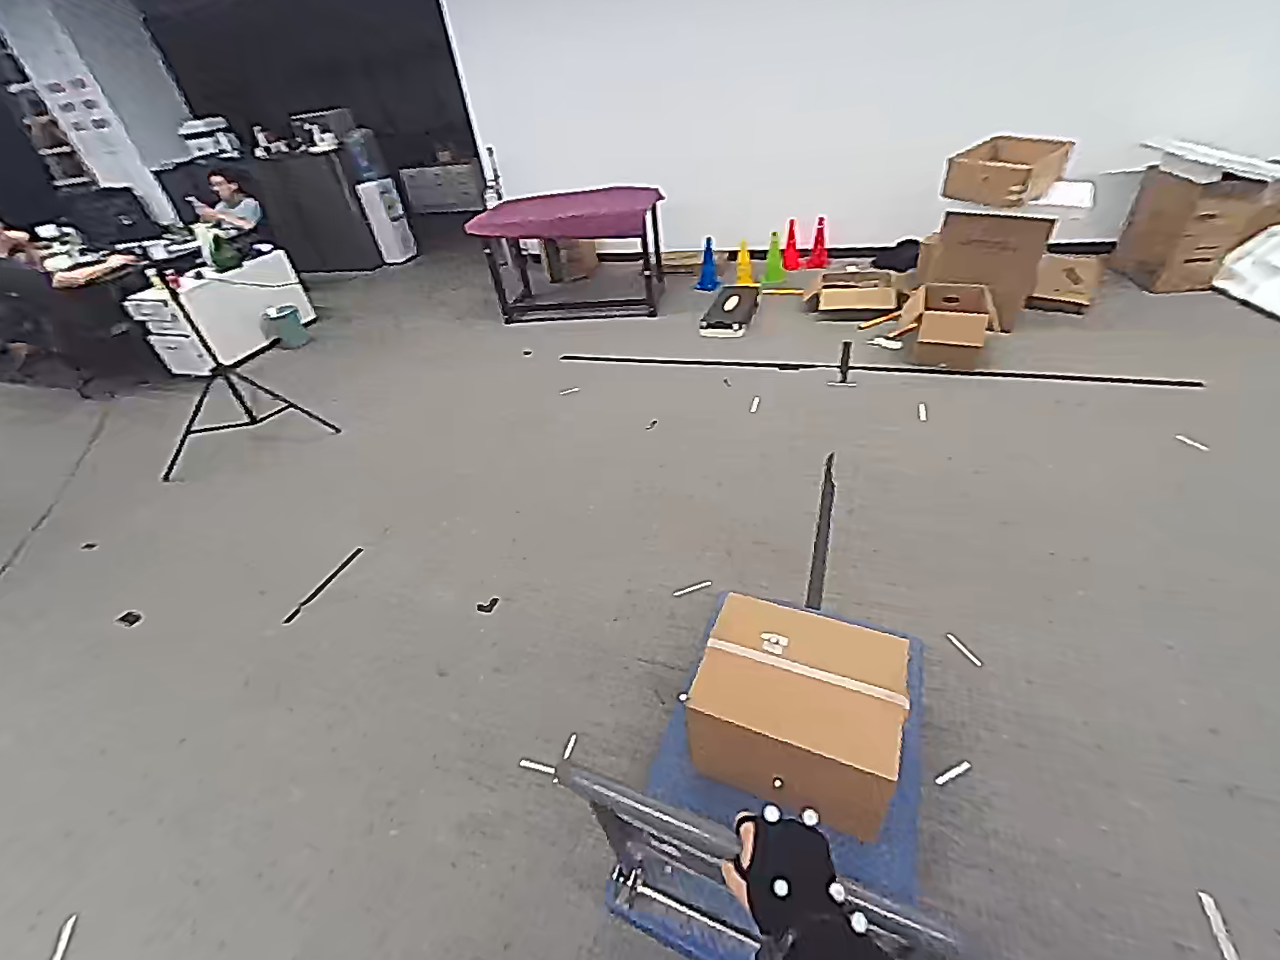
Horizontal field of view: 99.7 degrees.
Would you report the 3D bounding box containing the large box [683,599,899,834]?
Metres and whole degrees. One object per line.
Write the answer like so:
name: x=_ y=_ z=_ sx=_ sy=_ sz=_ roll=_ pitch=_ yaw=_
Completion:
large box: x=0.348 y=0.528 z=1.237 sx=0.408 sy=0.320 sz=0.320 roll=9 pitch=41 yaw=23
